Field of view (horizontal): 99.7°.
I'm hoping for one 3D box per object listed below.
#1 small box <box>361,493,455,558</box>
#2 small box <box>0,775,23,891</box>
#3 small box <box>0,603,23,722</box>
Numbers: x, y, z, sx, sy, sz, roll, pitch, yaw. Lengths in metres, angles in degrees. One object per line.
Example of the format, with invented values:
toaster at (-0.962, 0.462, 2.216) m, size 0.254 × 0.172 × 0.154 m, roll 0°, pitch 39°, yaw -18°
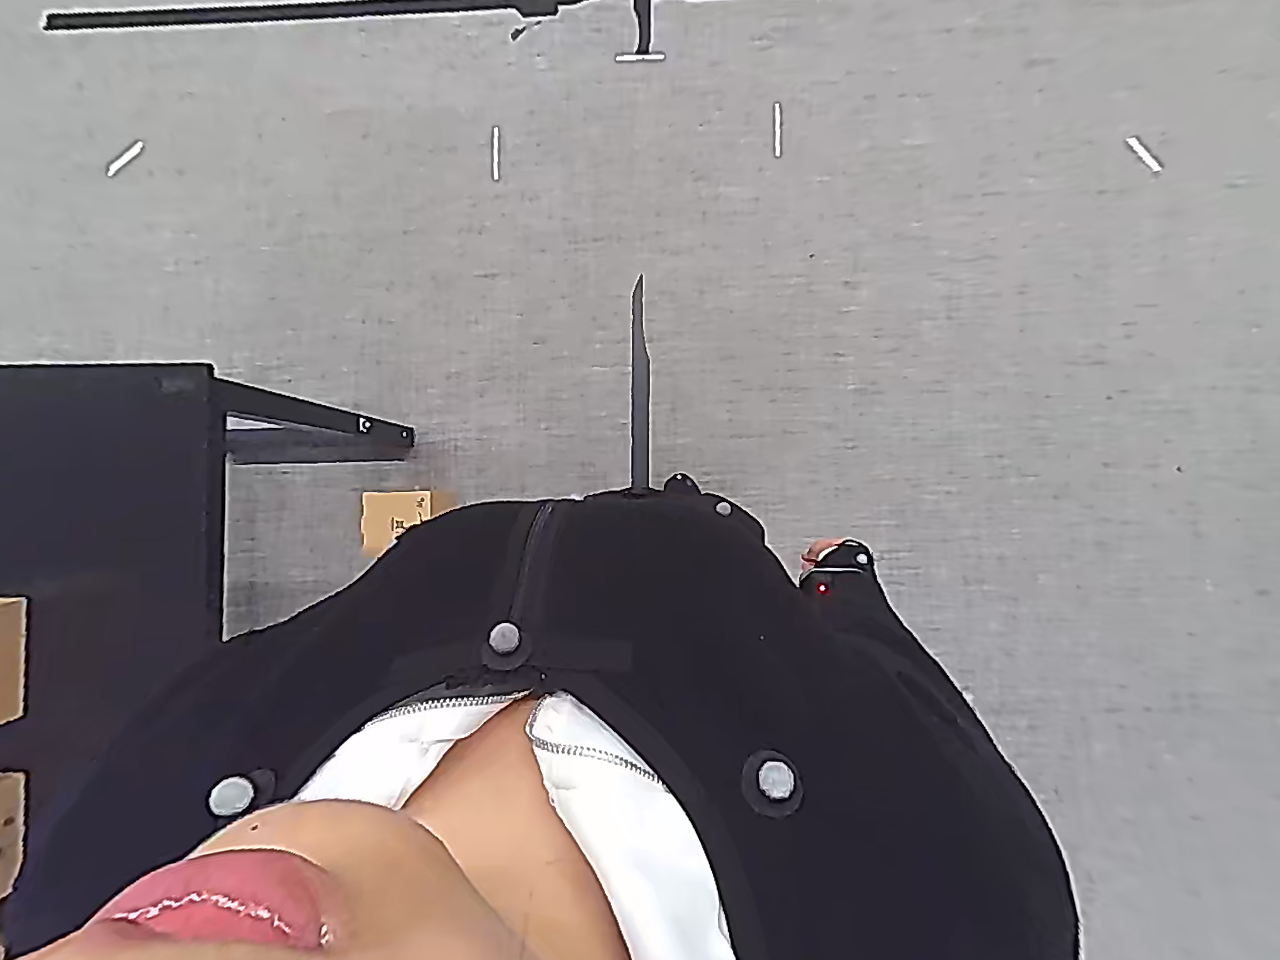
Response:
small box at (-0.611, 0.119, 1.437) m, size 0.179 × 0.176 × 0.168 m, roll -1°, pitch 89°, yaw 2°
small box at (-0.987, 0.506, 0.704) m, size 0.179 × 0.176 × 0.168 m, roll -1°, pitch 88°, yaw 1°
small box at (-0.988, 0.258, 0.715) m, size 0.168 × 0.176 × 0.179 m, roll 0°, pitch 89°, yaw 3°
